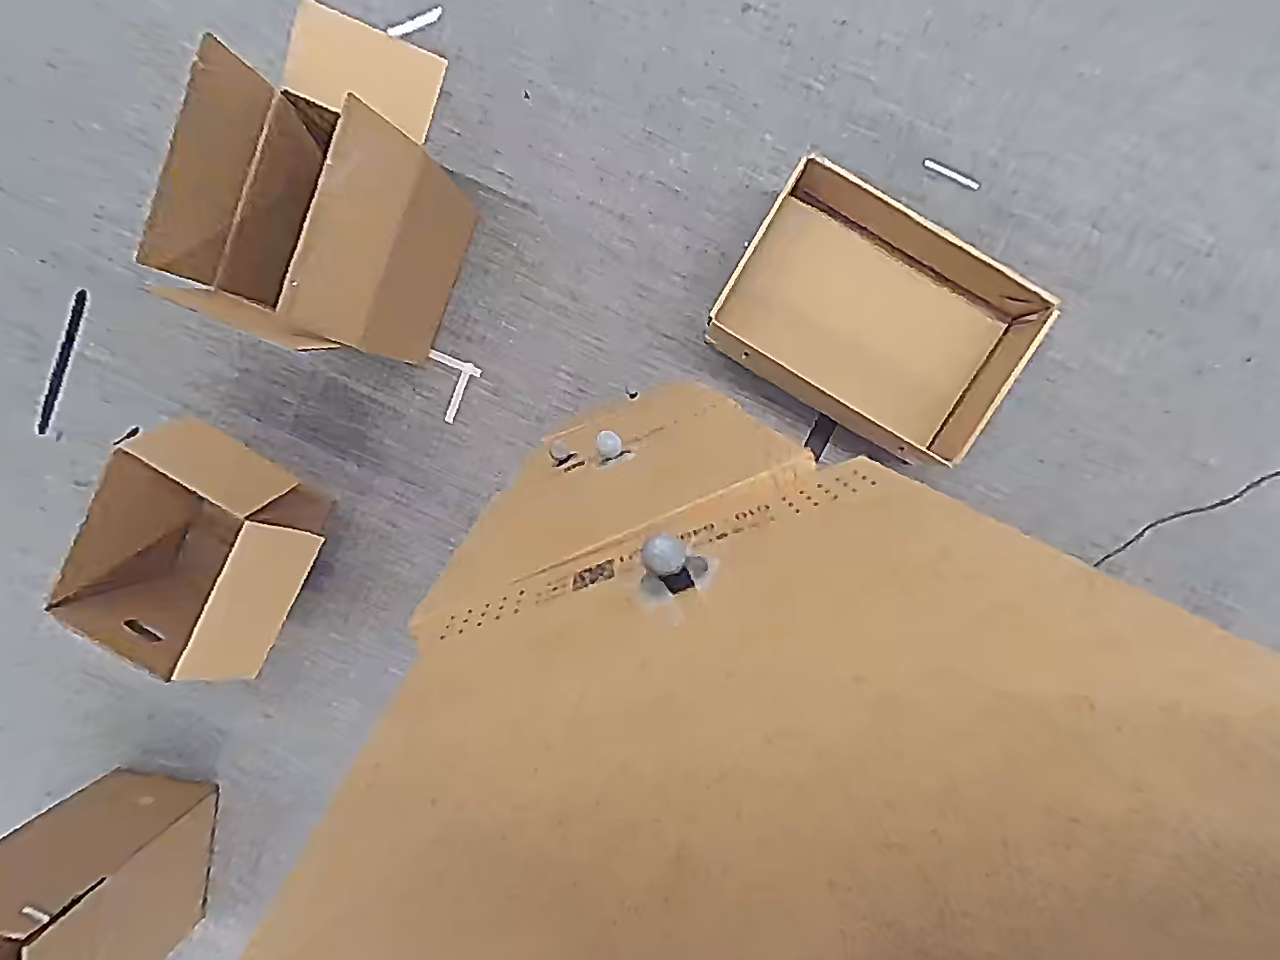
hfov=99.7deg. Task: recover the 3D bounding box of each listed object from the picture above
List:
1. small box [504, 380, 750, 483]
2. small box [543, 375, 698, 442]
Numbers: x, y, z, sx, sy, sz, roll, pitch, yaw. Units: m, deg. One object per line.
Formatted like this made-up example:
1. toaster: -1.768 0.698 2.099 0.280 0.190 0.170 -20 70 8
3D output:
1. small box: 0.011 0.027 0.451 0.179 0.176 0.168 -22 106 2
2. small box: 0.007 -0.012 0.614 0.168 0.176 0.179 -19 102 3
